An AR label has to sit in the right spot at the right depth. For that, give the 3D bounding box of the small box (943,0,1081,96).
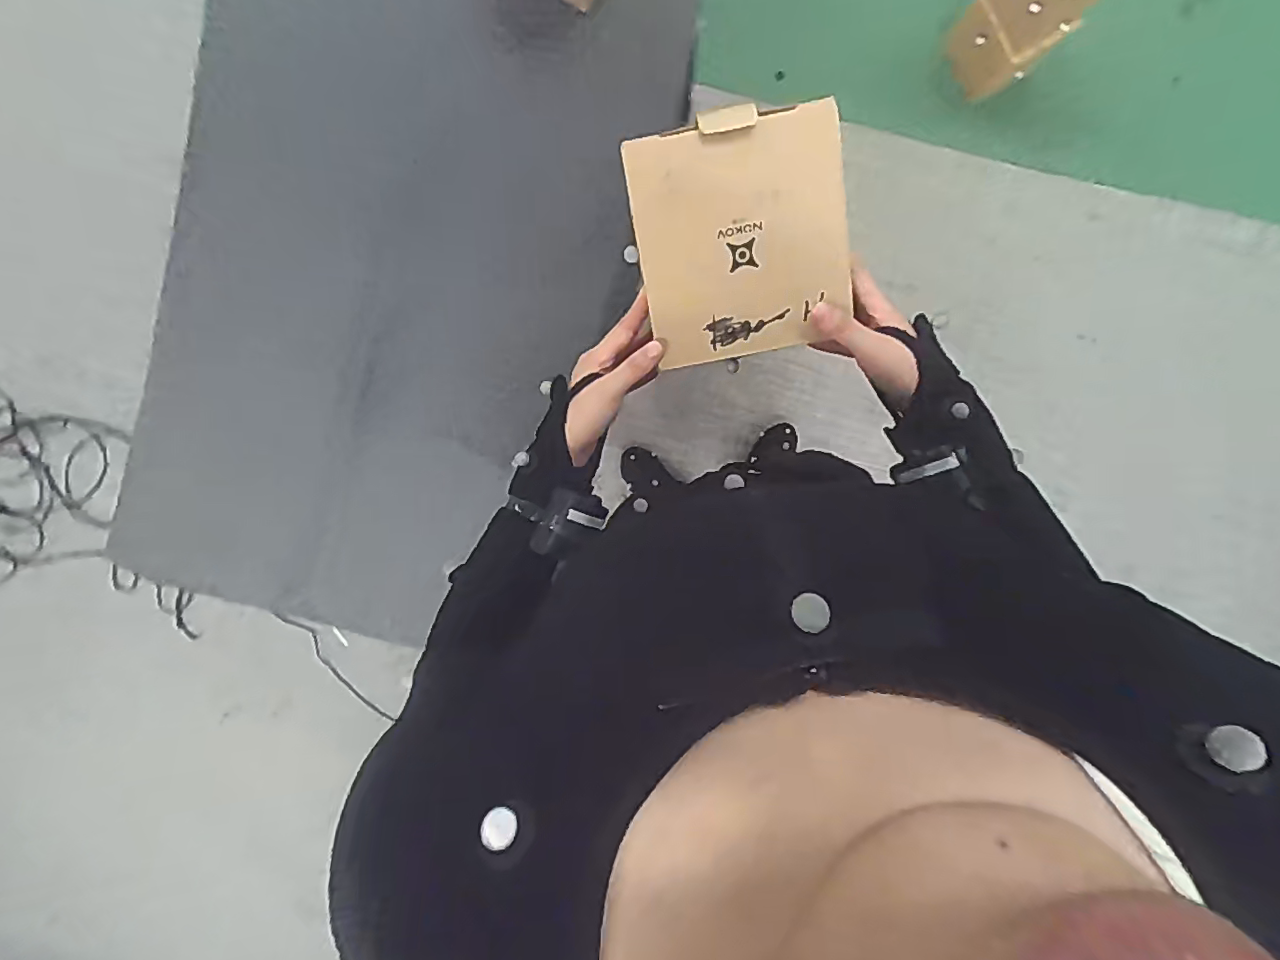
[{"bbox_3d":[0.843,-1.033,1.243,0.168,0.176,0.179,-30,94,6],"label":"small box"}]

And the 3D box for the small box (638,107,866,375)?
[{"bbox_3d":[0.090,-0.201,0.499,0.168,0.176,0.179,-9,106,3],"label":"small box"}]
